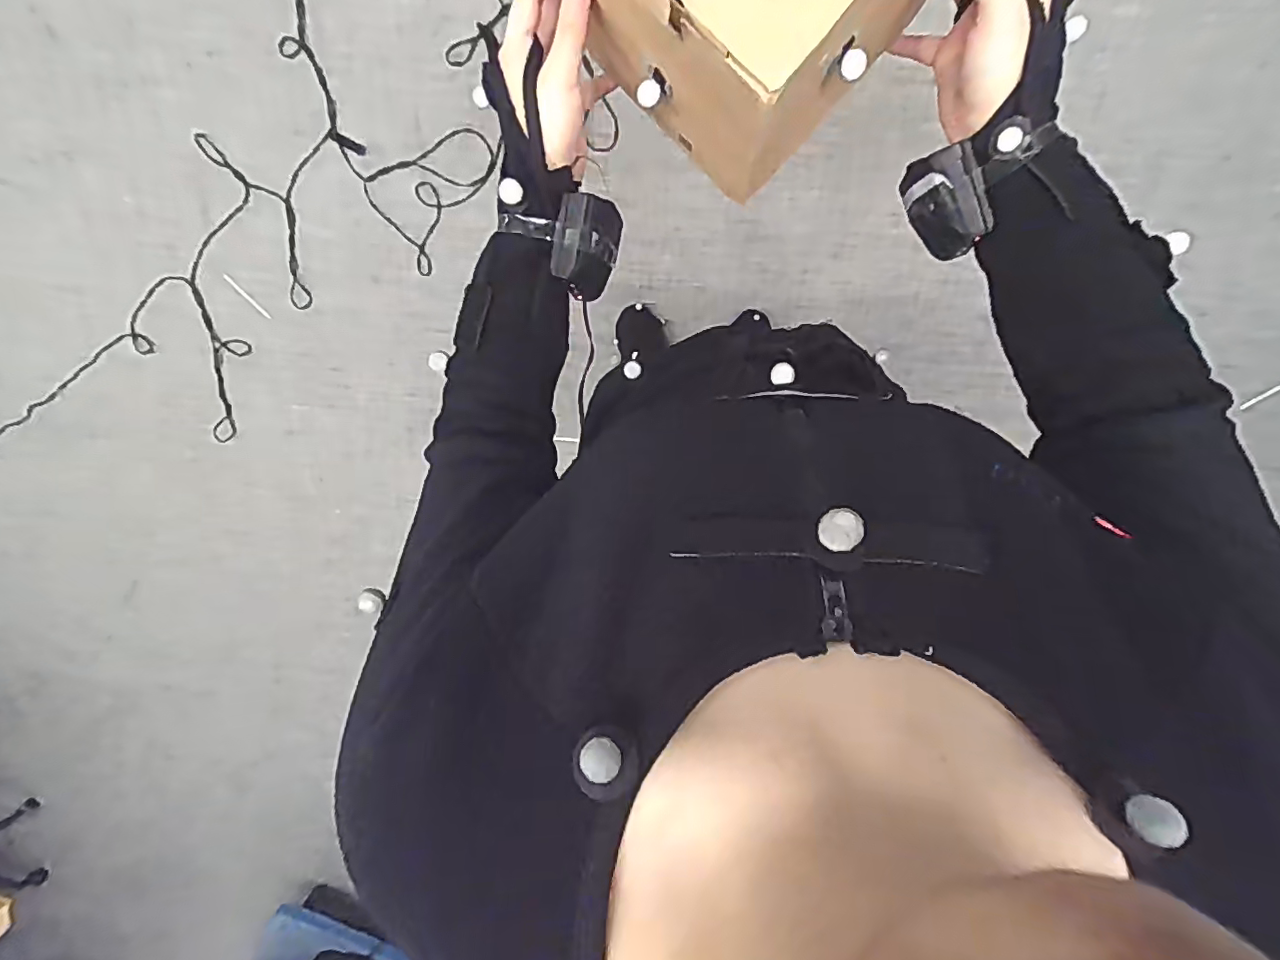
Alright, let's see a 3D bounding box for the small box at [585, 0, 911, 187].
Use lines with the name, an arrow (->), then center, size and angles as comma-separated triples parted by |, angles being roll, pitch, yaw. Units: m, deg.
small box -> 0.070, -0.319, 0.324 | 0.168, 0.176, 0.179 | 44, 102, -3
